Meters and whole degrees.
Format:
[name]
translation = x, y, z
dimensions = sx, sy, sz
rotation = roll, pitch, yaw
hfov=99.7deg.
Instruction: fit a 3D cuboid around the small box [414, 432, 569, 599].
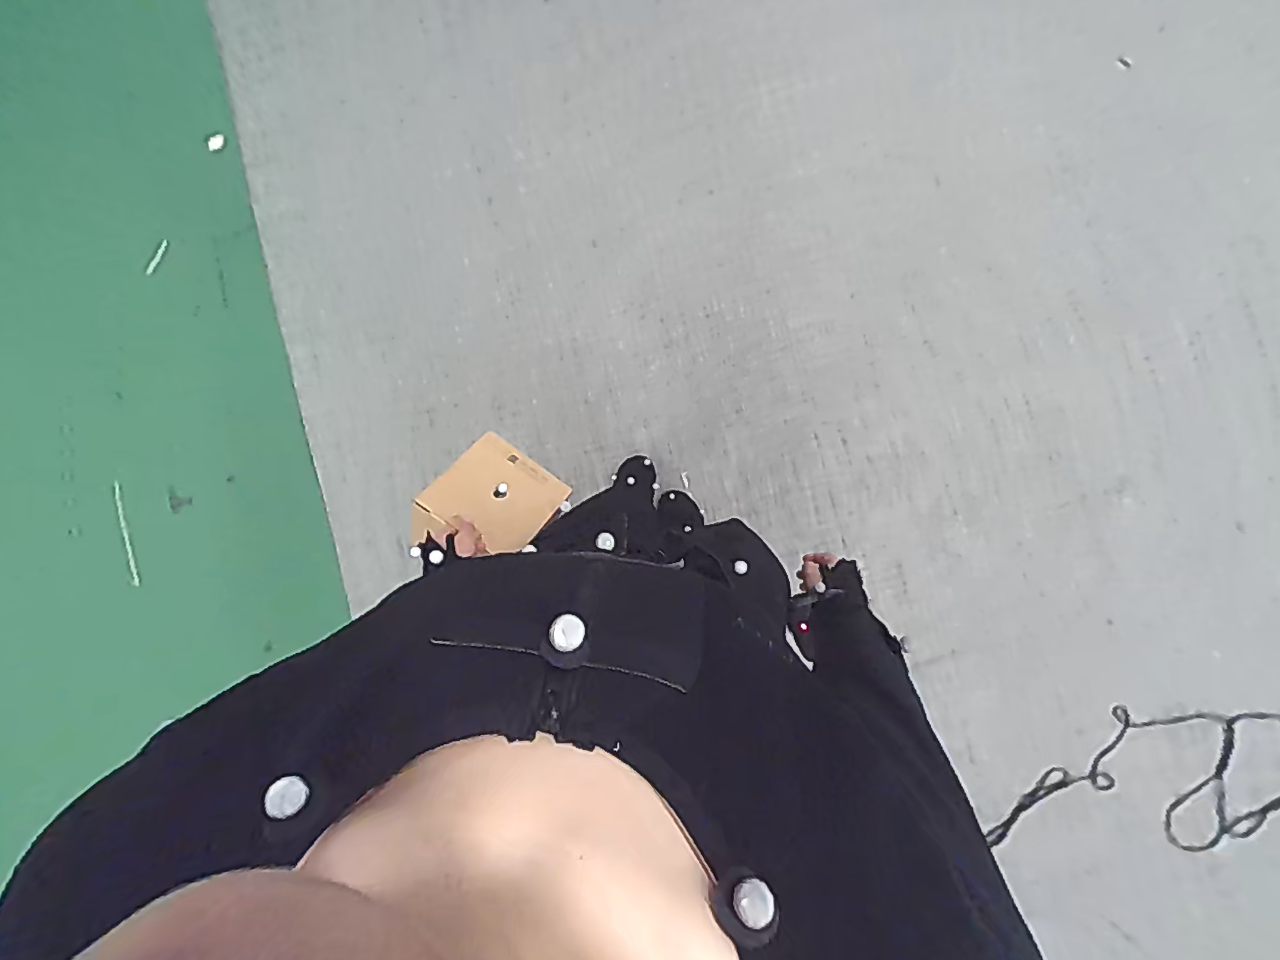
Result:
[small box]
translation = -0.237, 0.055, 0.872
dimensions = 0.168, 0.179, 0.176
rotation = 36, 52, -1
